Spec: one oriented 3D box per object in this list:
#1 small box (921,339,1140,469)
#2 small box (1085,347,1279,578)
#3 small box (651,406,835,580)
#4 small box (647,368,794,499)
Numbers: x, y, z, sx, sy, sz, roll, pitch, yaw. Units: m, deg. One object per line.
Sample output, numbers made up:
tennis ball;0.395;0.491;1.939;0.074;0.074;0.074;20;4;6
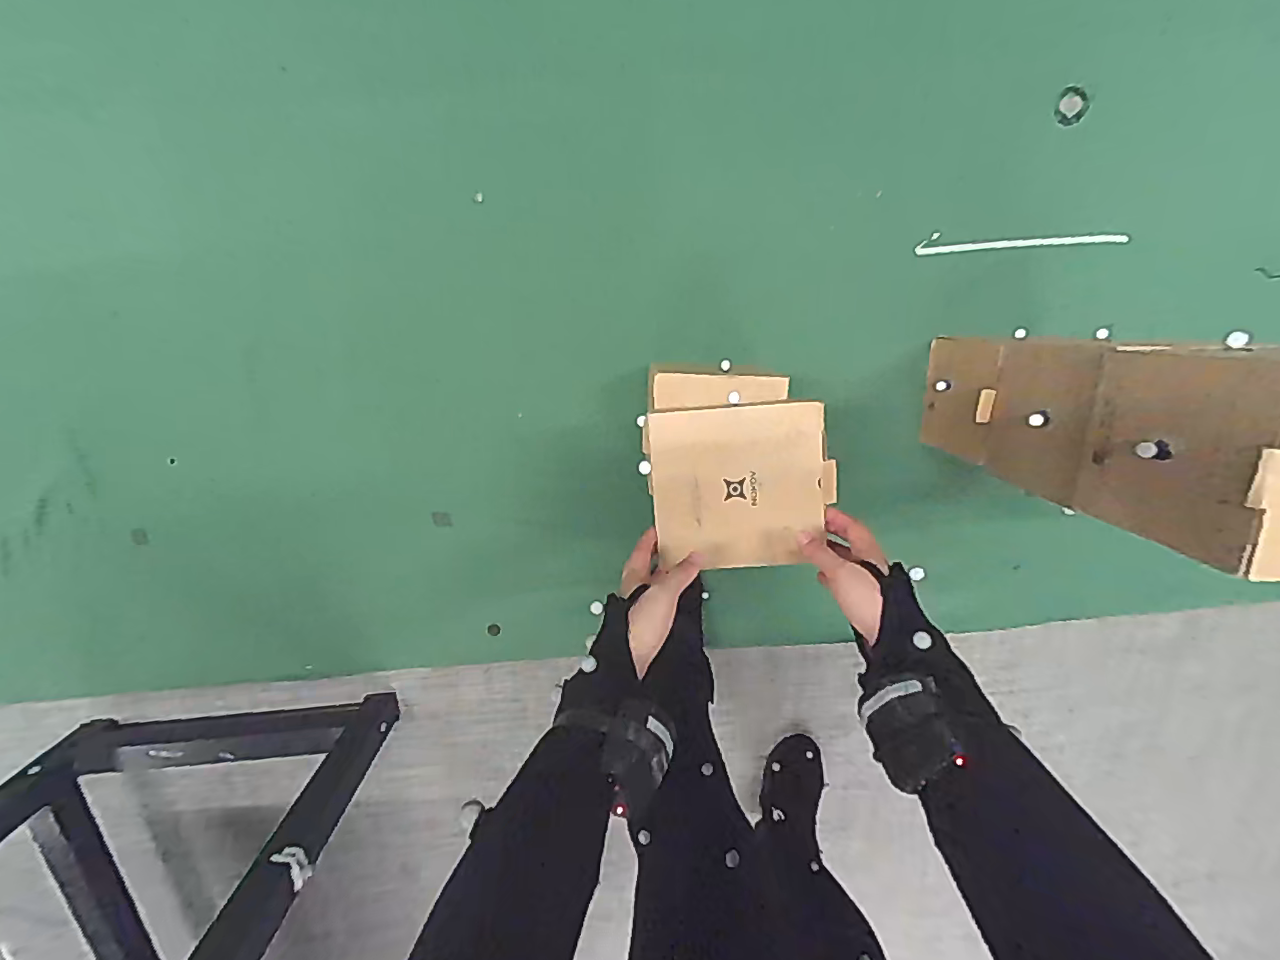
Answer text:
small box;0.544;-0.116;0.781;0.179;0.176;0.168;0;107;-1
small box;0.540;-0.026;0.465;0.179;0.176;0.168;-2;106;0
small box;0.107;0.005;0.615;0.179;0.176;0.168;-5;96;4
small box;0.104;-0.072;0.781;0.179;0.176;0.168;1;106;-2
